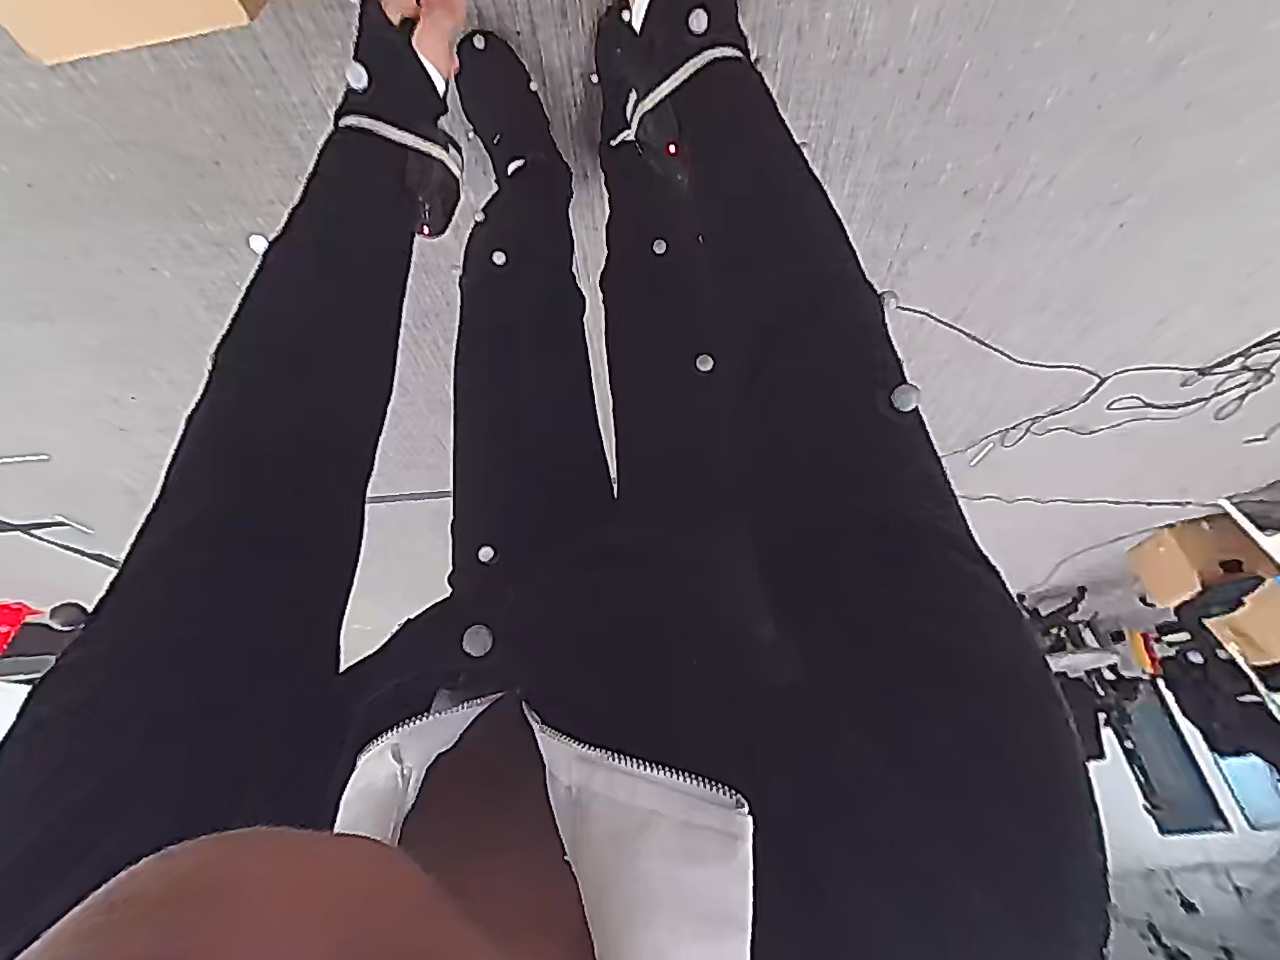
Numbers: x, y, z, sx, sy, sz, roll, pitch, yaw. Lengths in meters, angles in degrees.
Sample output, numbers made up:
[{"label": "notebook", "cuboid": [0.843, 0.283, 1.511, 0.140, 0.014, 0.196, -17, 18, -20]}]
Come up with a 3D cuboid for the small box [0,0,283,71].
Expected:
[{"label": "small box", "cuboid": [-0.363, -0.419, 0.355, 0.168, 0.176, 0.179, -8, 150, 4]}]
